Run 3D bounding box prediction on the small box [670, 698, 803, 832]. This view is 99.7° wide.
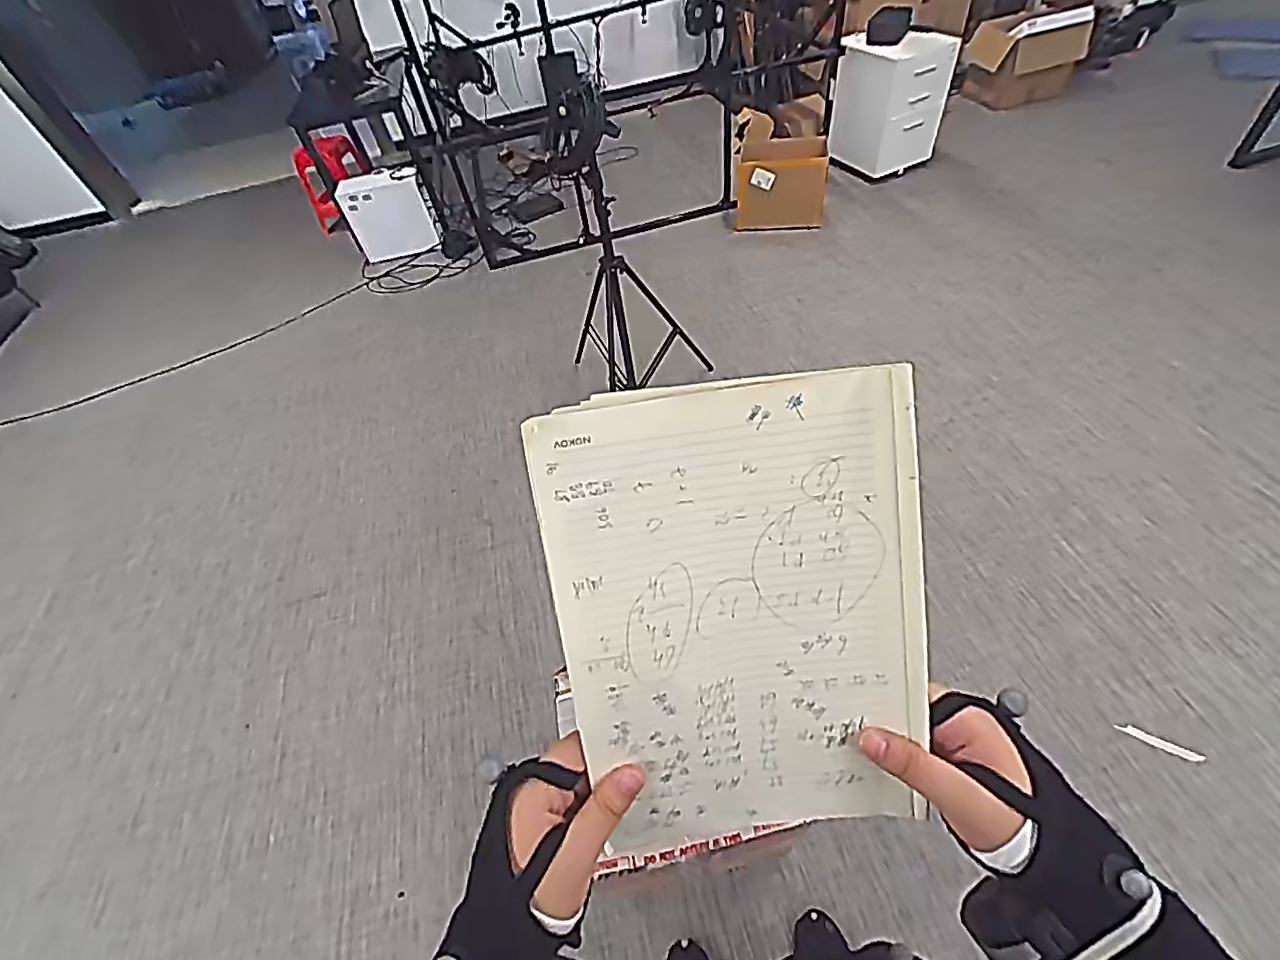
[{"bbox_3d":[0.154,0.423,0.842,0.179,0.176,0.168,-16,51,-6],"label":"small box"}]

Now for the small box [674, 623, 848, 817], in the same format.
[{"bbox_3d":[0.143,0.319,0.714,0.168,0.176,0.179,-13,52,-4],"label":"small box"}]
